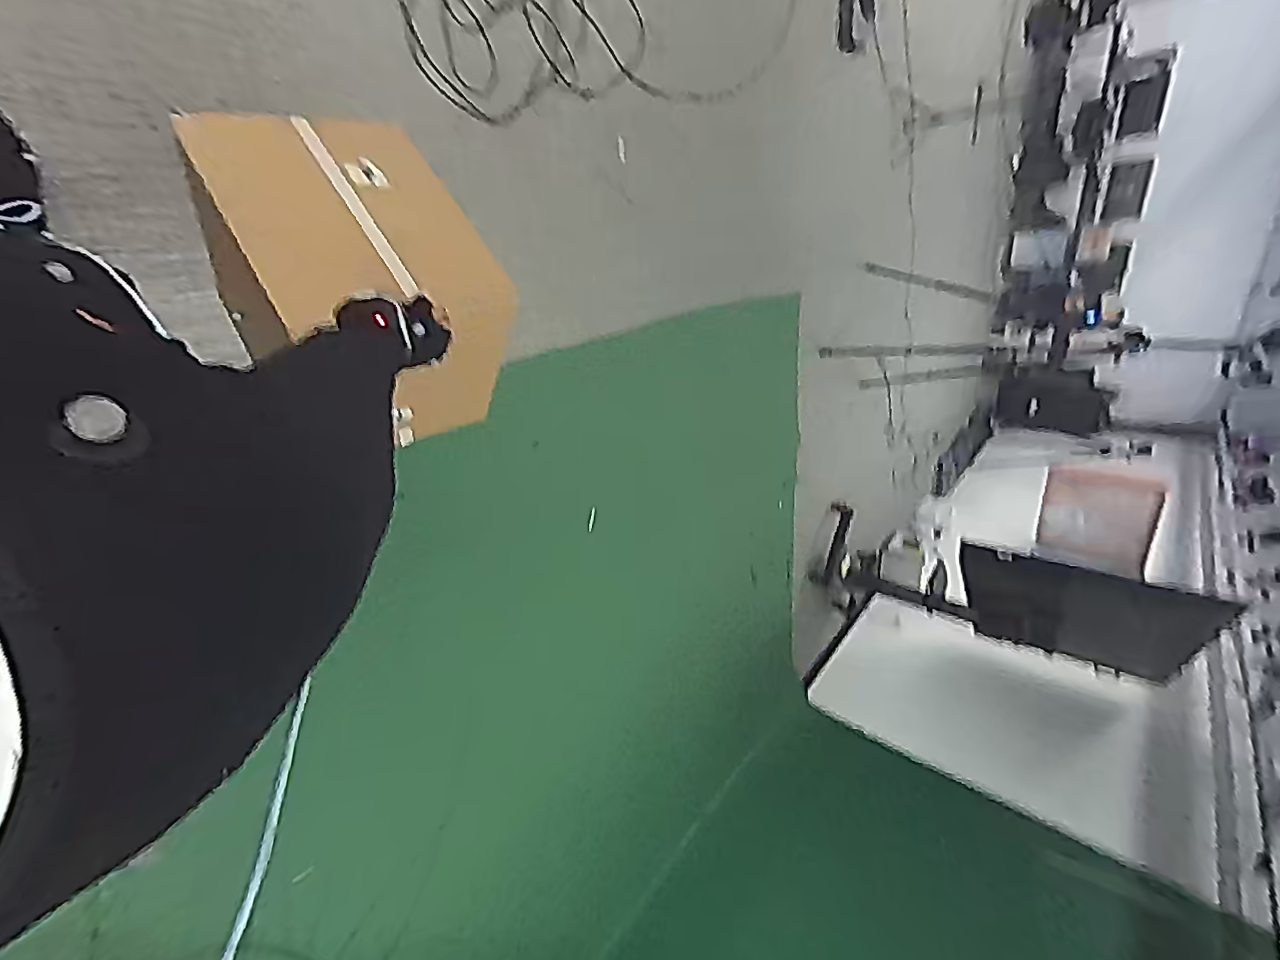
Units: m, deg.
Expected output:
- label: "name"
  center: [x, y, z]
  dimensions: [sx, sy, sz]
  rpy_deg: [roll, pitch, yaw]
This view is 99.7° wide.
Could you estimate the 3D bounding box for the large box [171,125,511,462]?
- label: "large box"
  center: [-0.471, -0.306, 0.894]
  dimensions: [0.320, 0.408, 0.320]
  rpy_deg: [-25, 161, -37]
